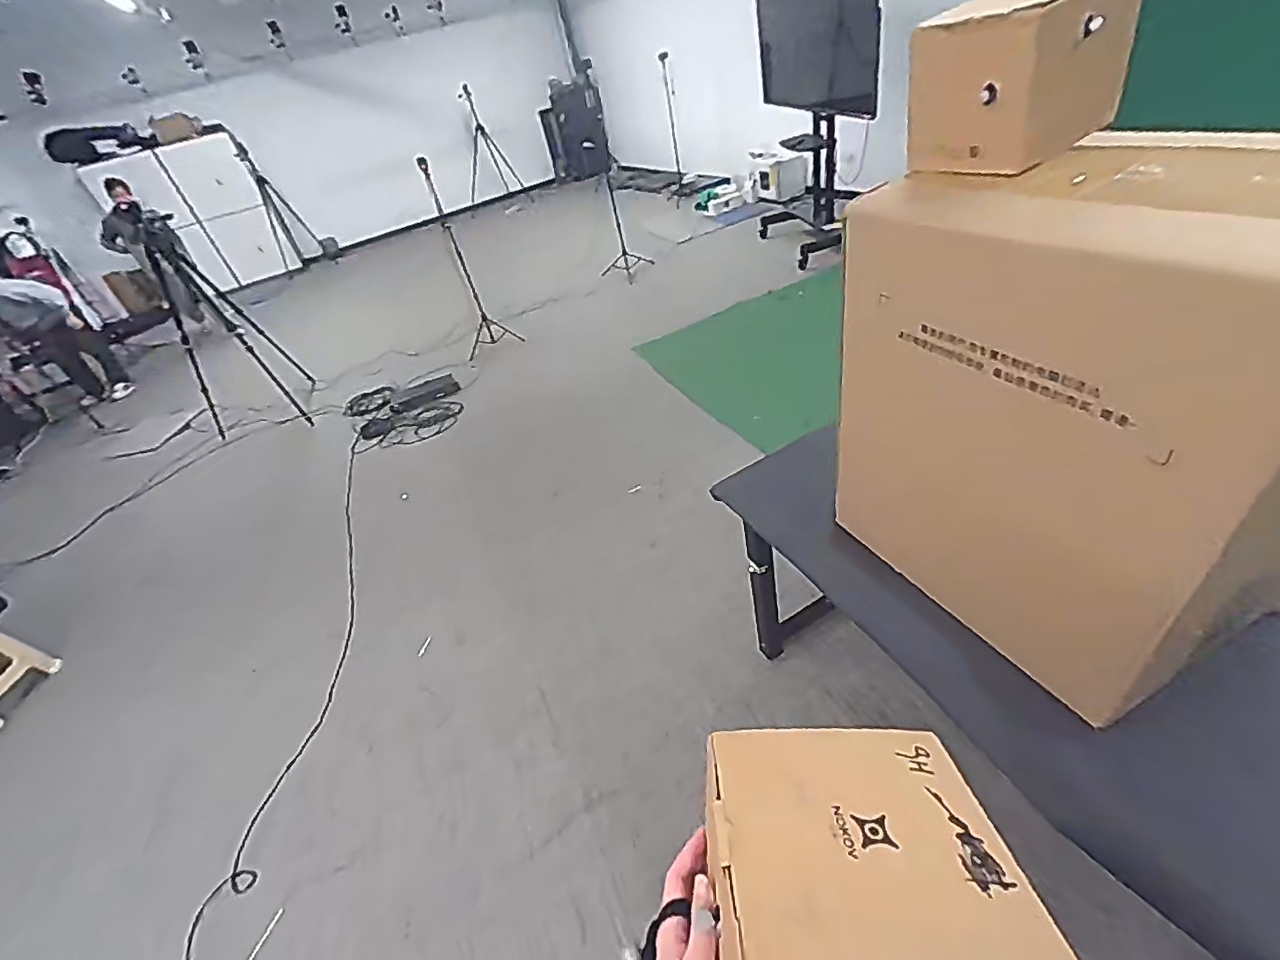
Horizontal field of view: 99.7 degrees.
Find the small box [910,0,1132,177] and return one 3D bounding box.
[{"bbox_3d":[0.474,-0.505,0.690,0.179,0.176,0.168,-29,39,-13],"label":"small box"}]

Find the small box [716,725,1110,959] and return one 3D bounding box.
[{"bbox_3d":[0.145,0.289,0.356,0.179,0.176,0.168,-1,19,1],"label":"small box"}]
